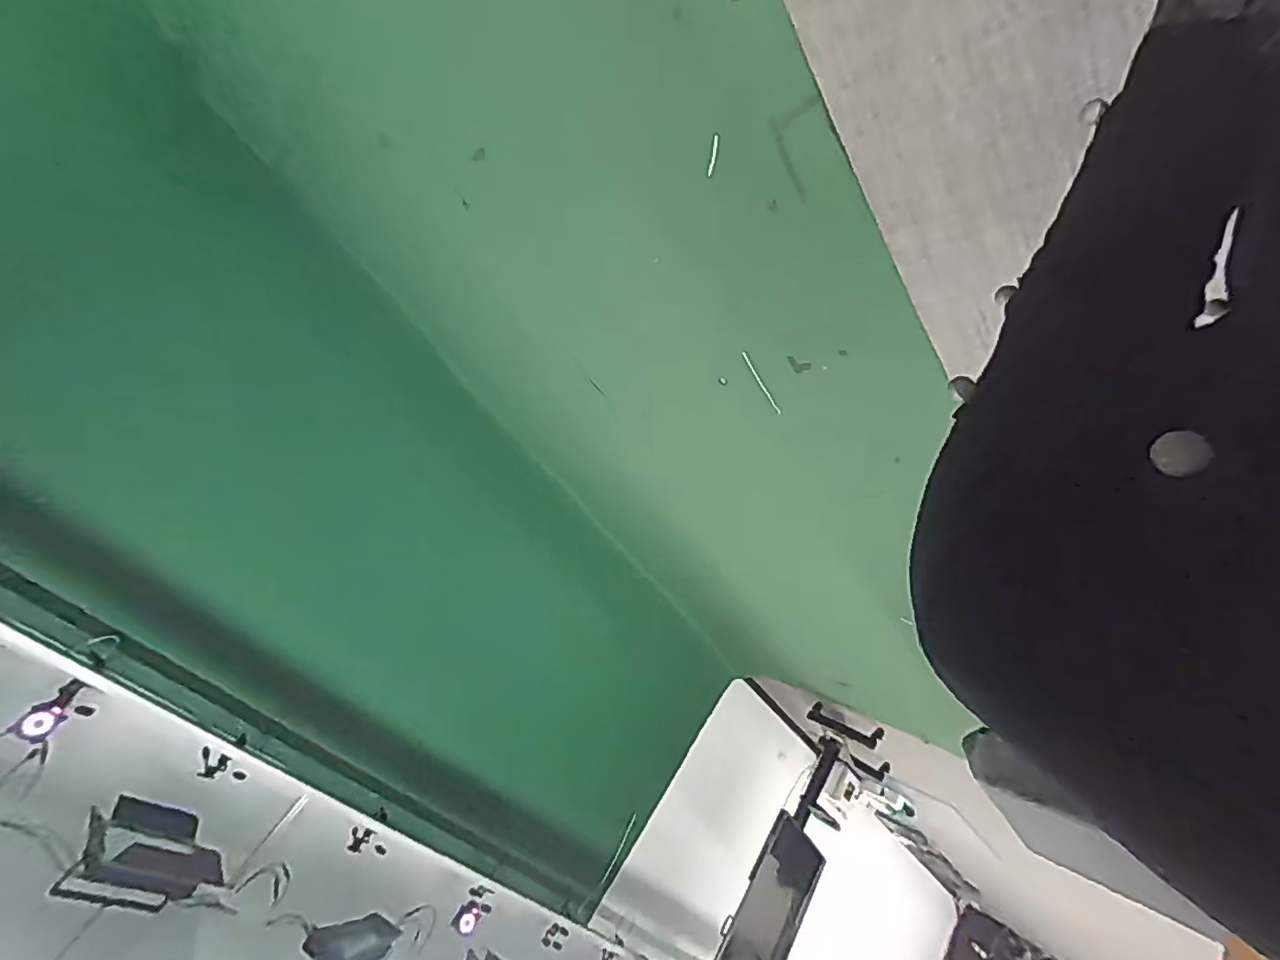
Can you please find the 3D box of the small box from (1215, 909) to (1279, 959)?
[{"bbox_3d":[1.545,1.191,1.312,0.168,0.176,0.179,49,157,-26],"label":"small box"}]
